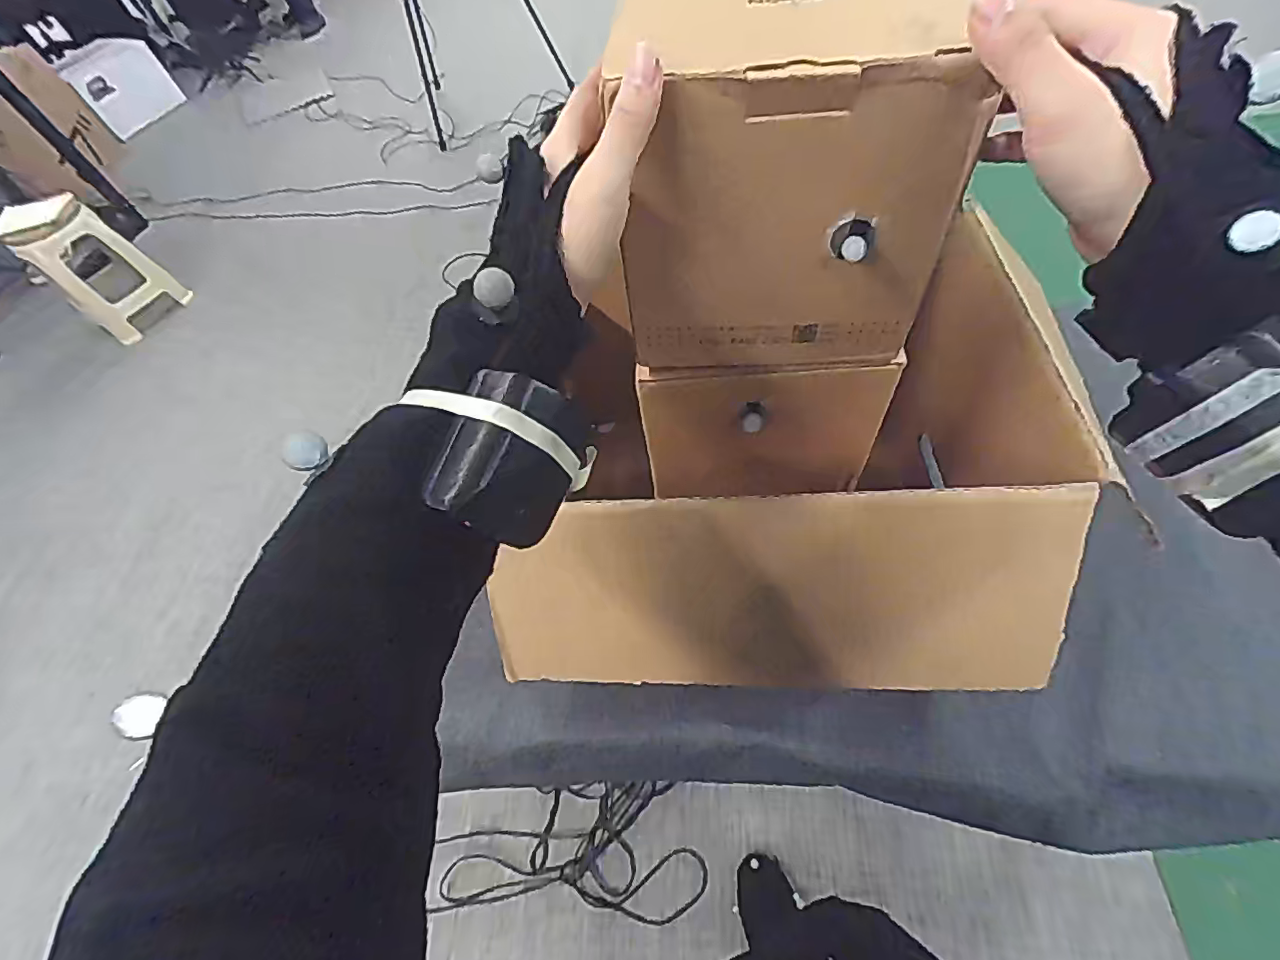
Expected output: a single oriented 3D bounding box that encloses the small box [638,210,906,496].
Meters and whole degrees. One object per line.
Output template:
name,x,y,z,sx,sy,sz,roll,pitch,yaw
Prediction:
small box,0.096,-0.097,0.461,0.179,0.176,0.168,-3,57,7
